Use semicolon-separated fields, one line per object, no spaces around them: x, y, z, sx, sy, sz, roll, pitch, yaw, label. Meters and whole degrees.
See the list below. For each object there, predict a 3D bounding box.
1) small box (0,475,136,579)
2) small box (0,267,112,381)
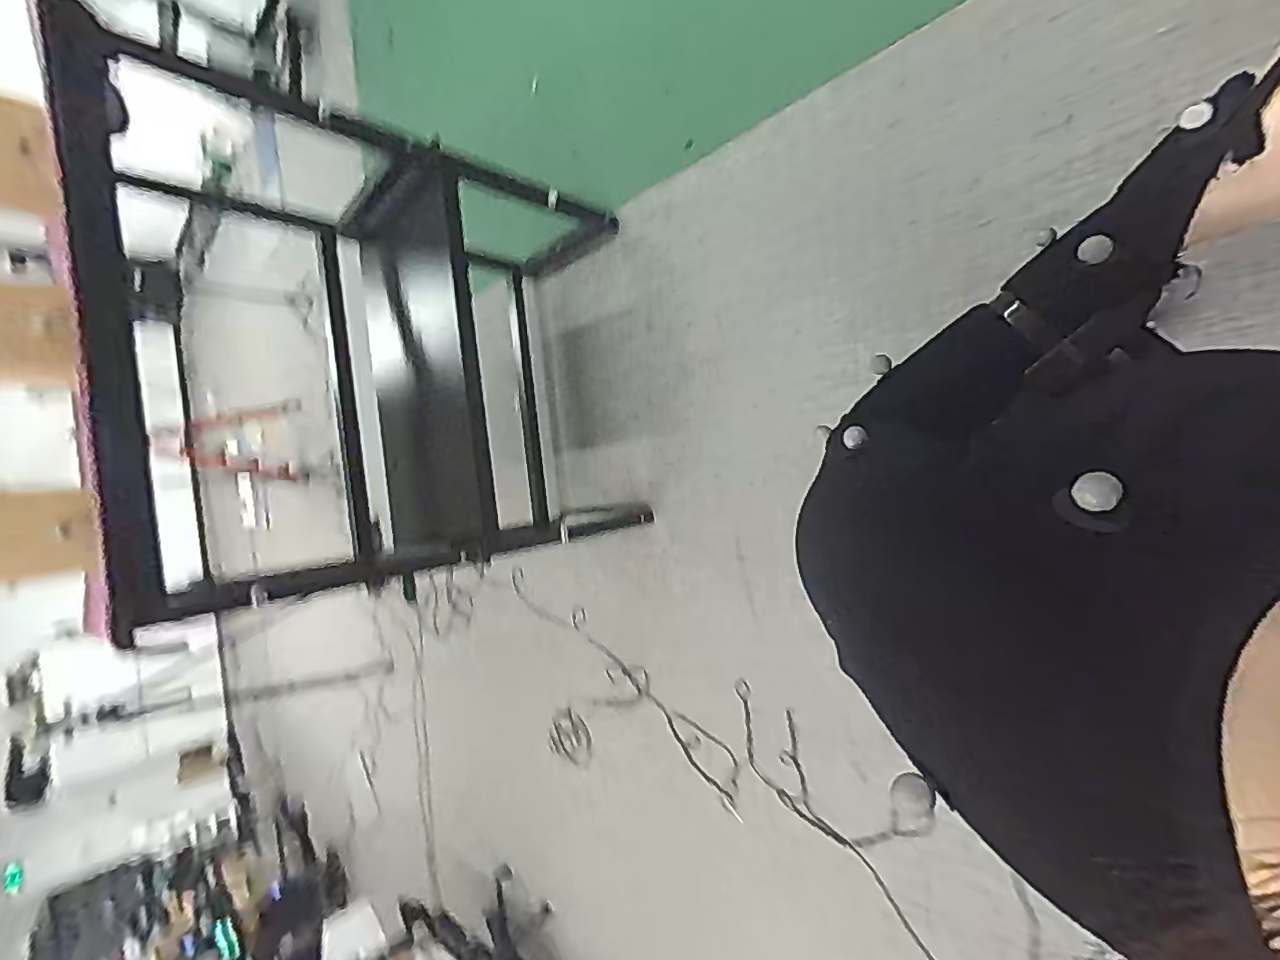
-1.067;0.084;1.011;0.179;0.176;0.168;-7;91;45;small box
-1.125;-0.285;1.022;0.179;0.176;0.168;-6;92;43;small box
